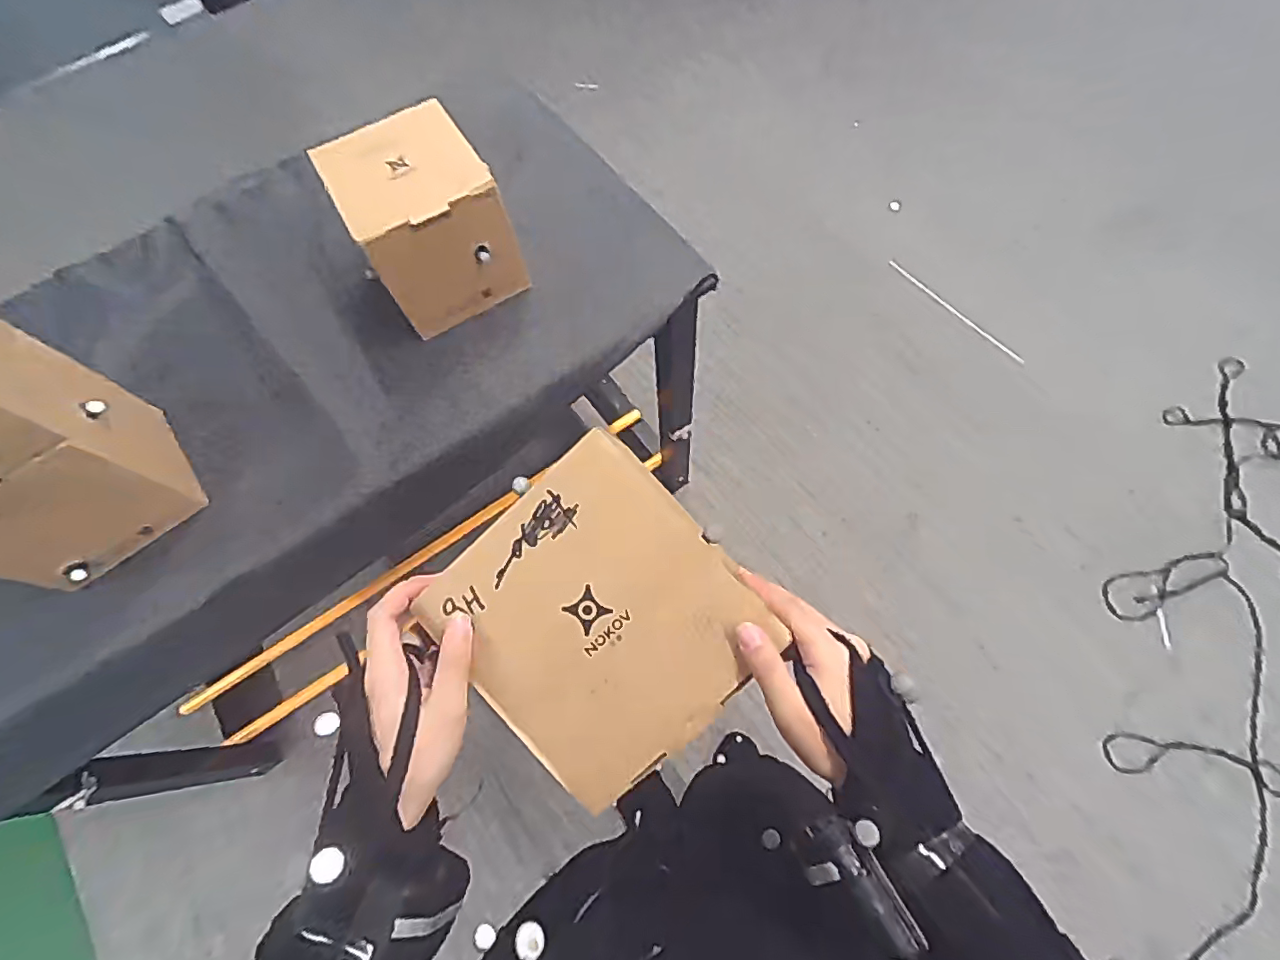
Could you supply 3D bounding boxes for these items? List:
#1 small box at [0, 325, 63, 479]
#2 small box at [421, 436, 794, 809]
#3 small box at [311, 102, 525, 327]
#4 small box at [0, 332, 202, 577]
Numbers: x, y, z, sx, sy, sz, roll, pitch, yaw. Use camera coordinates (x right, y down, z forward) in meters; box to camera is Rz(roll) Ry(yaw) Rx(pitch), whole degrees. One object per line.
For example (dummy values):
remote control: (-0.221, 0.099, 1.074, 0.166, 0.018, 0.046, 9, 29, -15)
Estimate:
small box: (-0.642, -0.079, 0.430, 0.168, 0.176, 0.179, -41, 71, -12)
small box: (-0.016, 0.086, 0.410, 0.168, 0.176, 0.179, -44, 87, 3)
small box: (-0.268, -0.322, 0.687, 0.168, 0.176, 0.179, -30, 68, -10)
small box: (-0.631, -0.014, 0.581, 0.168, 0.176, 0.179, -38, 69, -12)
